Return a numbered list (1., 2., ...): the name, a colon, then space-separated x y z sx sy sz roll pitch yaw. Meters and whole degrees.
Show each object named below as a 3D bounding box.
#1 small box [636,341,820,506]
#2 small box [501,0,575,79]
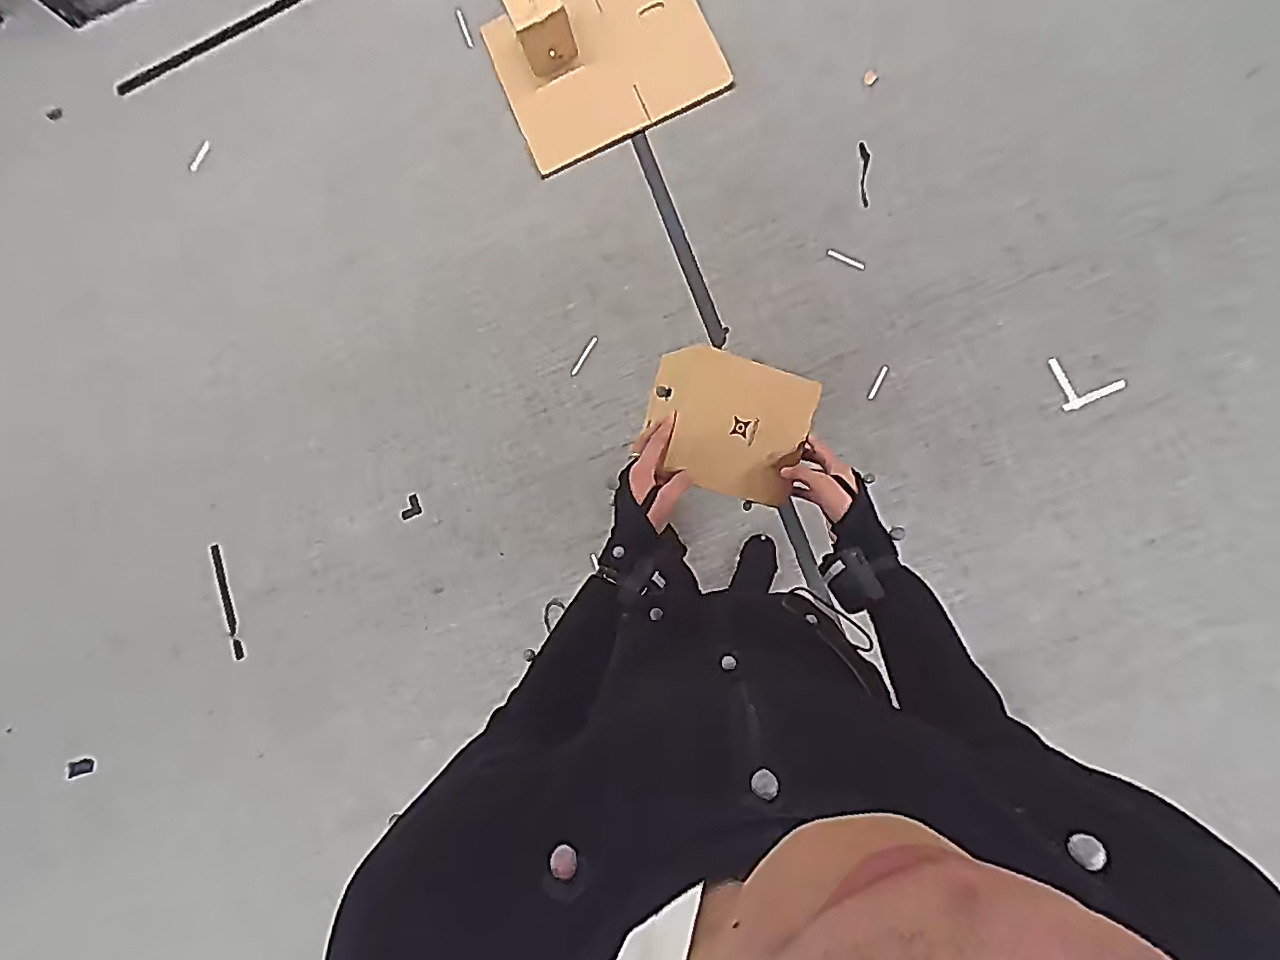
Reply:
1. small box: 0.106 -0.074 0.734 0.179 0.176 0.168 15 94 -14
2. small box: -0.329 -1.467 1.754 0.168 0.176 0.179 -24 83 6
